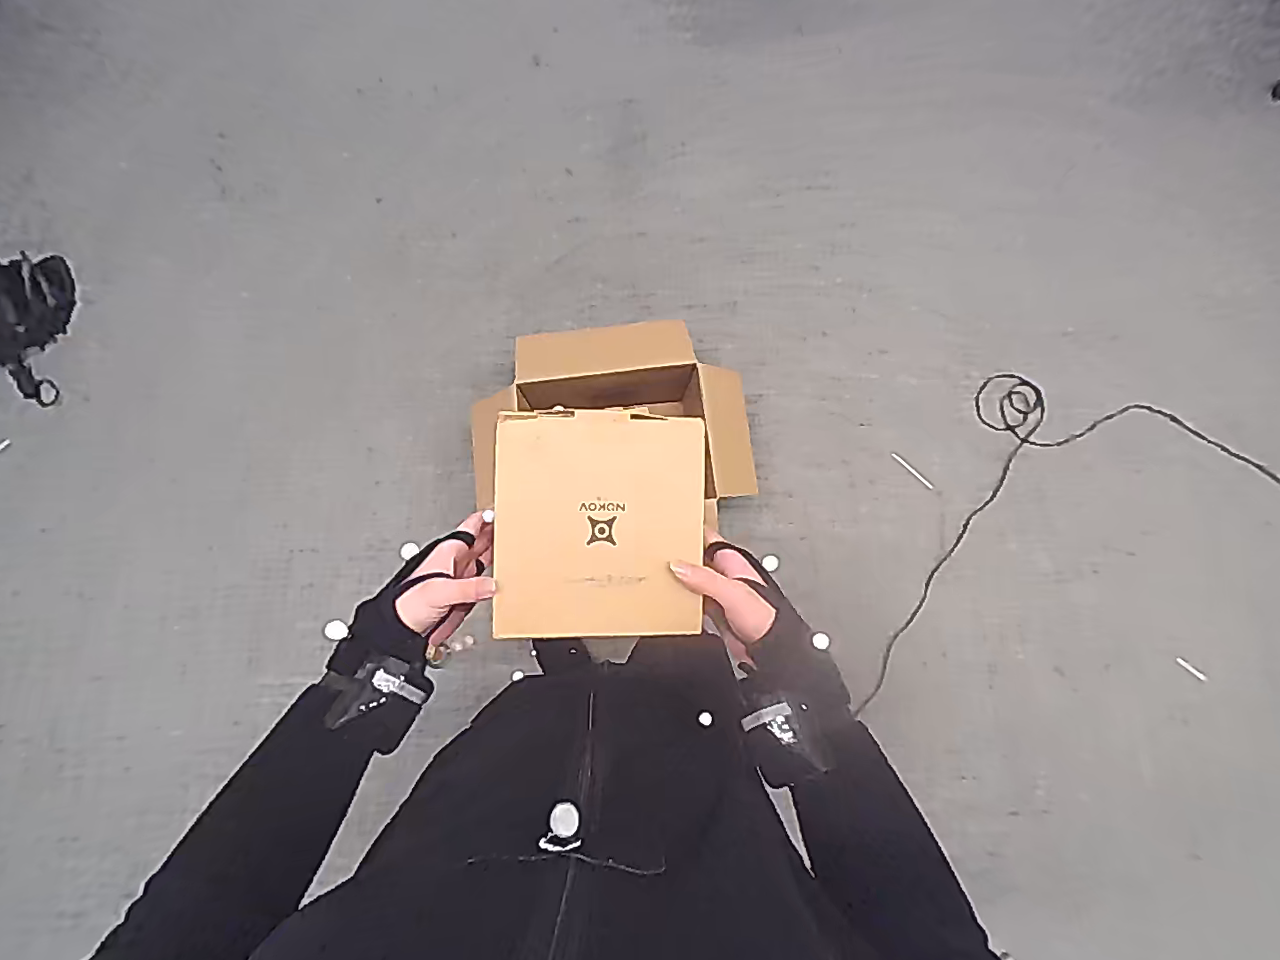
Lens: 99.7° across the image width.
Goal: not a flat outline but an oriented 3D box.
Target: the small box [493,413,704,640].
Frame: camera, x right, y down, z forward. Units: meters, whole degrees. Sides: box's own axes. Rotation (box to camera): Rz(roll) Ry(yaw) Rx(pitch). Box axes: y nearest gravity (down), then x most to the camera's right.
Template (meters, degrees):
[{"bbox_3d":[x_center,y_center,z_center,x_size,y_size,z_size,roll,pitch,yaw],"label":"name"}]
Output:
[{"bbox_3d":[-0.041,0.039,0.503,0.168,0.176,0.179,1,89,-8],"label":"small box"}]
